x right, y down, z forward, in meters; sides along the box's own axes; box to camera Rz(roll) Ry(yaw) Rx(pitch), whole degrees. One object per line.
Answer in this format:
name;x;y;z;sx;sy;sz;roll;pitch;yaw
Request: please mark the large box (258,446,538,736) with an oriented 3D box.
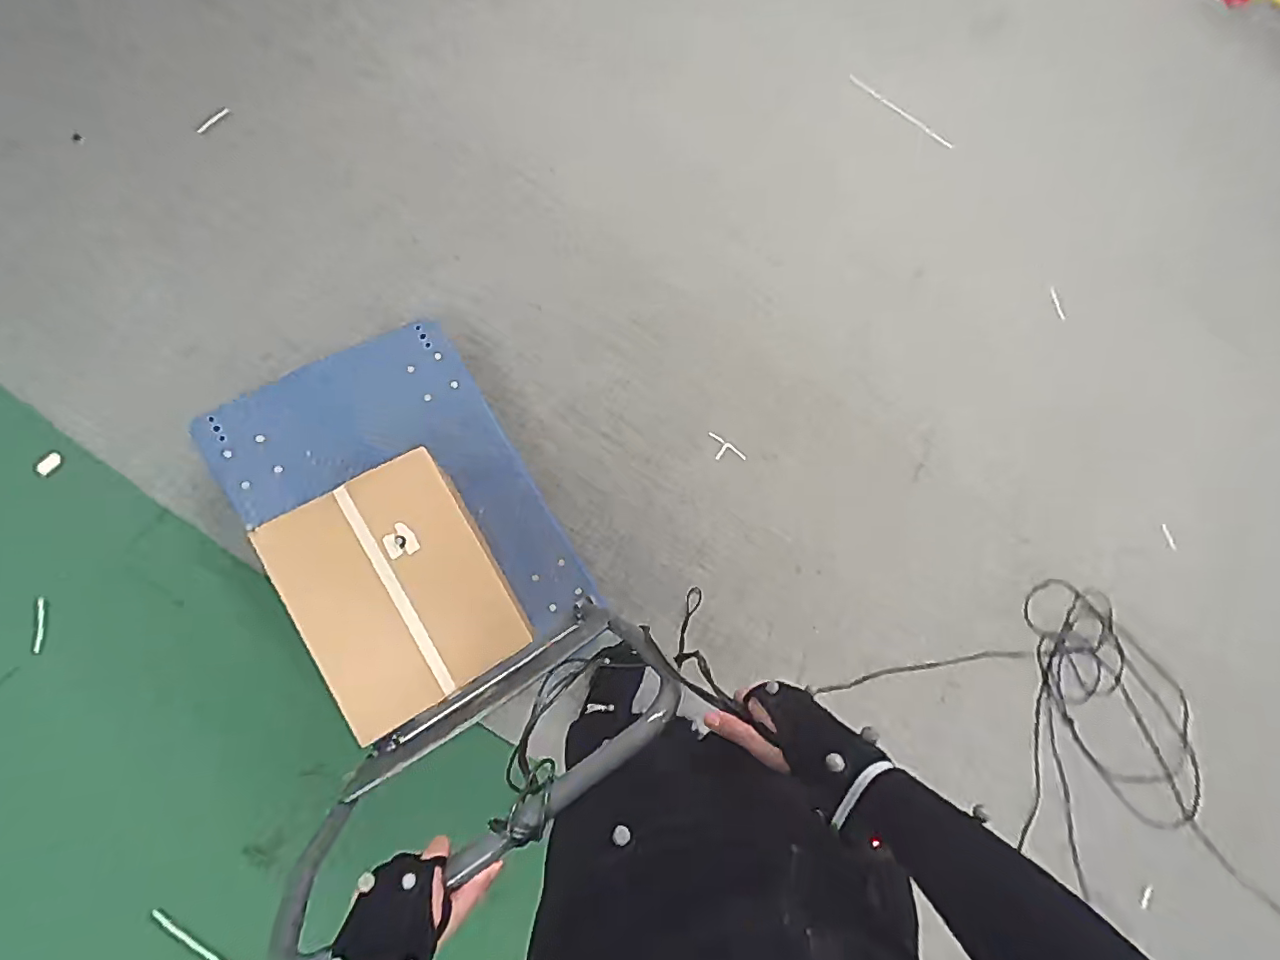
large box;-0.434;0.205;1.068;0.320;0.320;0.408;-30;86;-15
